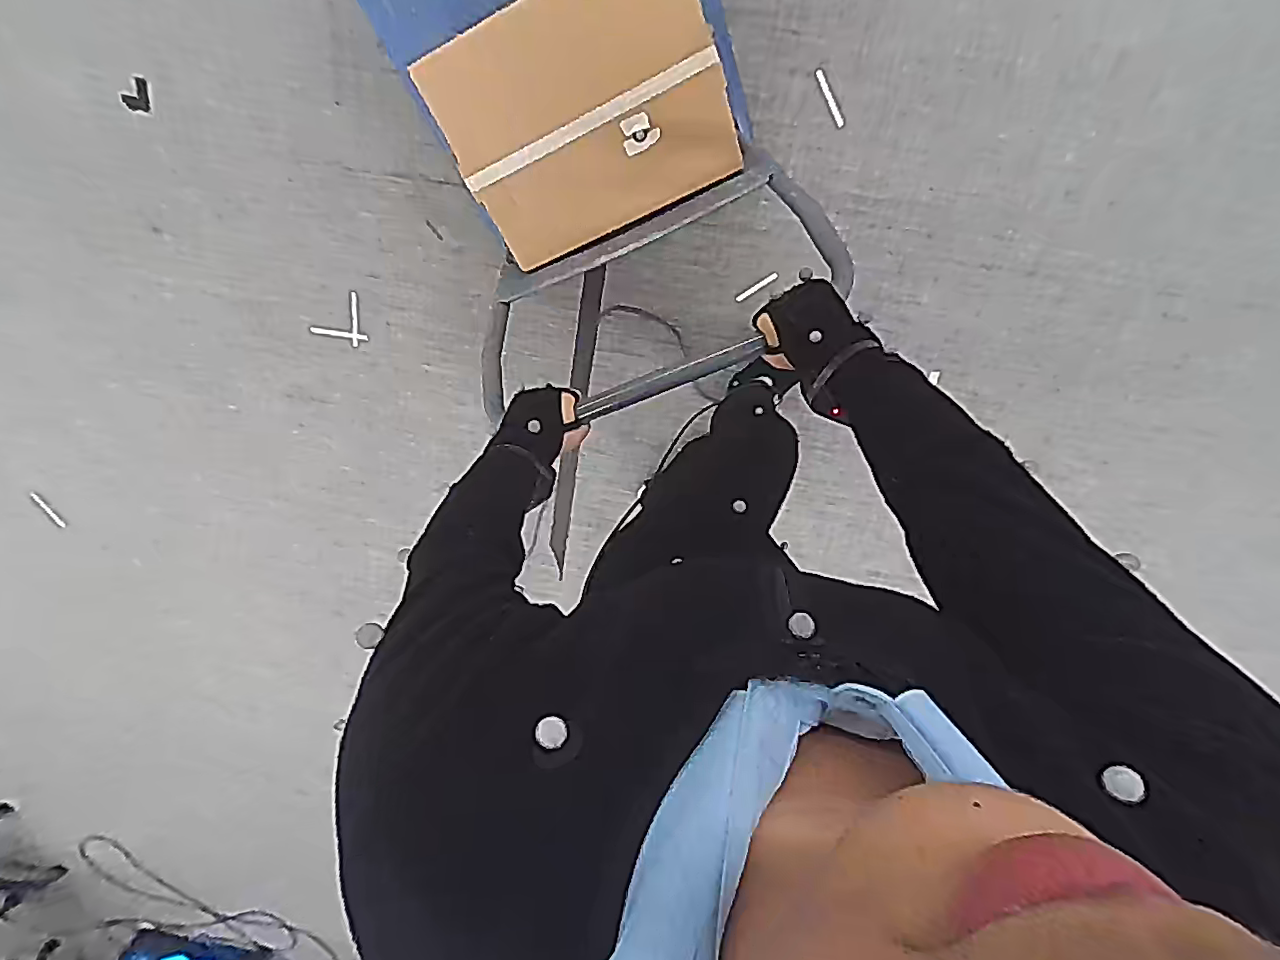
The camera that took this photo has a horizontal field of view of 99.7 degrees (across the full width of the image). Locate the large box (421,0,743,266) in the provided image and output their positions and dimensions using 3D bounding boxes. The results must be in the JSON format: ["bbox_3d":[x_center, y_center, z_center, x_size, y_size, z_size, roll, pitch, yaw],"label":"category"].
[{"bbox_3d":[-0.087,-0.641,0.930,0.408,0.320,0.320,-22,129,12],"label":"large box"}]
